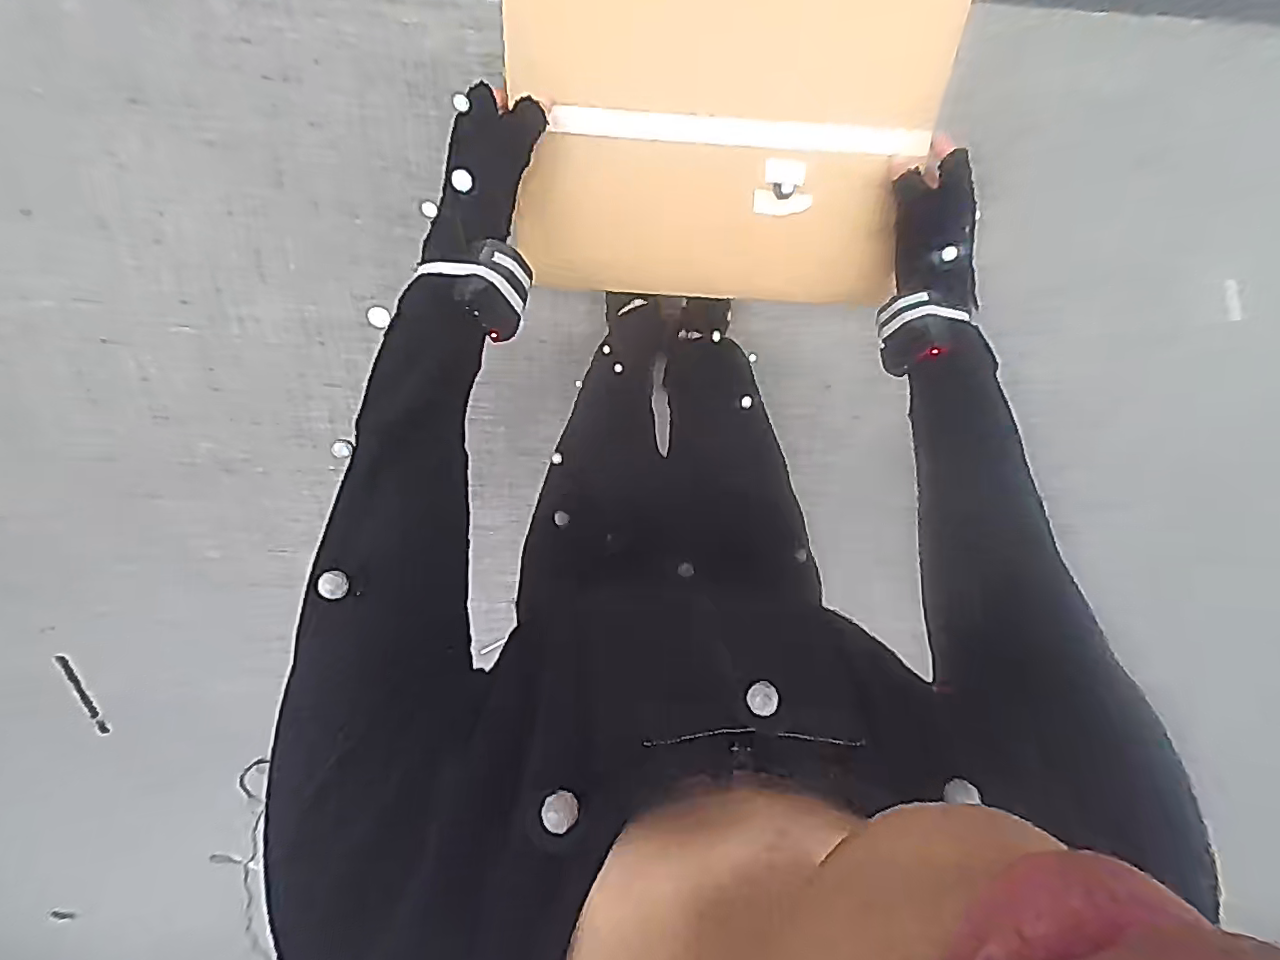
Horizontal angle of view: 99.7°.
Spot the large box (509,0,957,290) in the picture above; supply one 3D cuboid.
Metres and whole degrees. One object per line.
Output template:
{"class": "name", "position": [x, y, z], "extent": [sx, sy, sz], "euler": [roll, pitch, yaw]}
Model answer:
{"class": "large box", "position": [0.075, -0.427, 0.649], "extent": [0.408, 0.320, 0.320], "euler": [2, 122, -3]}
